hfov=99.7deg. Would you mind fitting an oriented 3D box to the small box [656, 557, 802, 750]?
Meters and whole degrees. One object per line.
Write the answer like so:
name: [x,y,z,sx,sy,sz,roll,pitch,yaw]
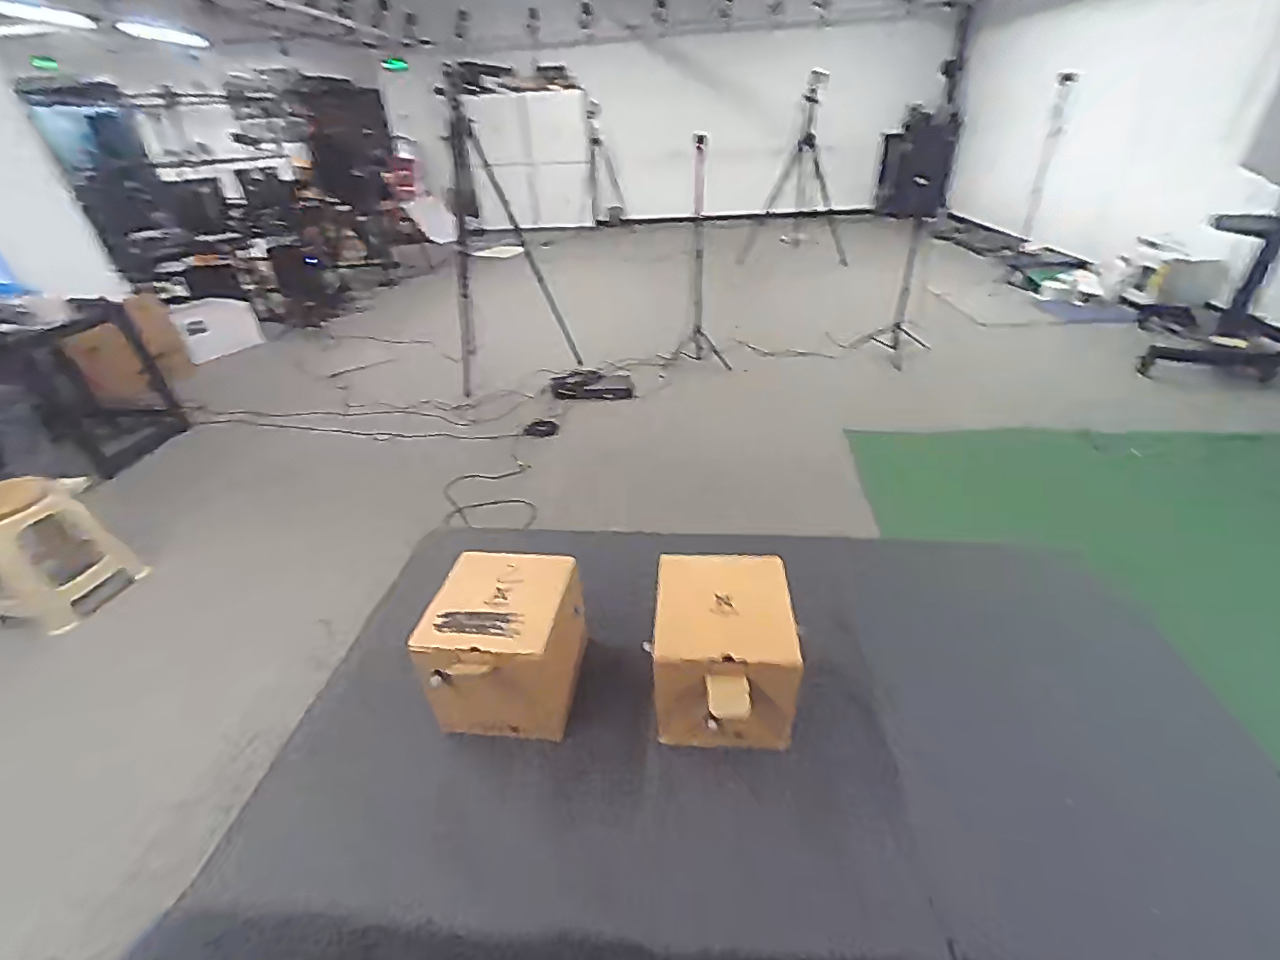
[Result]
small box: [0.108,0.223,0.714,0.168,0.176,0.179,0,34,5]
